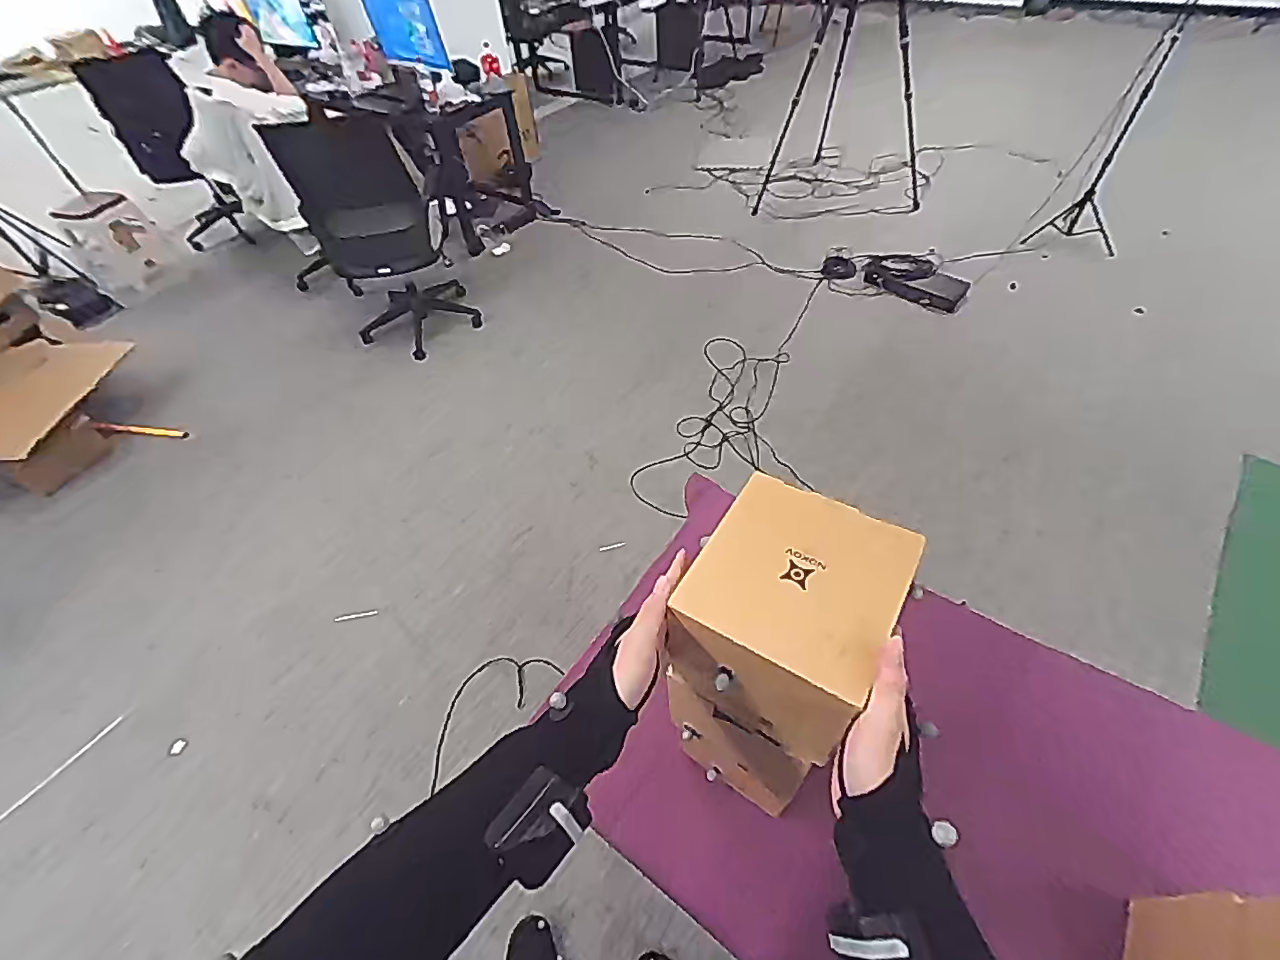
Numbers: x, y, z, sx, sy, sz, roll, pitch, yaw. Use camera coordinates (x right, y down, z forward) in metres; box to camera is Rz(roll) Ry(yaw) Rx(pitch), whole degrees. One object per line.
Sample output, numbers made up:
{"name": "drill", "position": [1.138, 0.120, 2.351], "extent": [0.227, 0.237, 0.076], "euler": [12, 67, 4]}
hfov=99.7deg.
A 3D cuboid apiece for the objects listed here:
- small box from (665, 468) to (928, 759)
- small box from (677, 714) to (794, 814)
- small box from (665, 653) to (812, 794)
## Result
{"name": "small box", "position": [0.141, 0.127, 0.512], "extent": [0.168, 0.176, 0.179], "euler": [24, 55, 24]}
{"name": "small box", "position": [0.163, 0.330, 0.764], "extent": [0.168, 0.176, 0.179], "euler": [27, 57, 24]}
{"name": "small box", "position": [0.146, 0.230, 0.636], "extent": [0.168, 0.176, 0.179], "euler": [26, 55, 25]}
